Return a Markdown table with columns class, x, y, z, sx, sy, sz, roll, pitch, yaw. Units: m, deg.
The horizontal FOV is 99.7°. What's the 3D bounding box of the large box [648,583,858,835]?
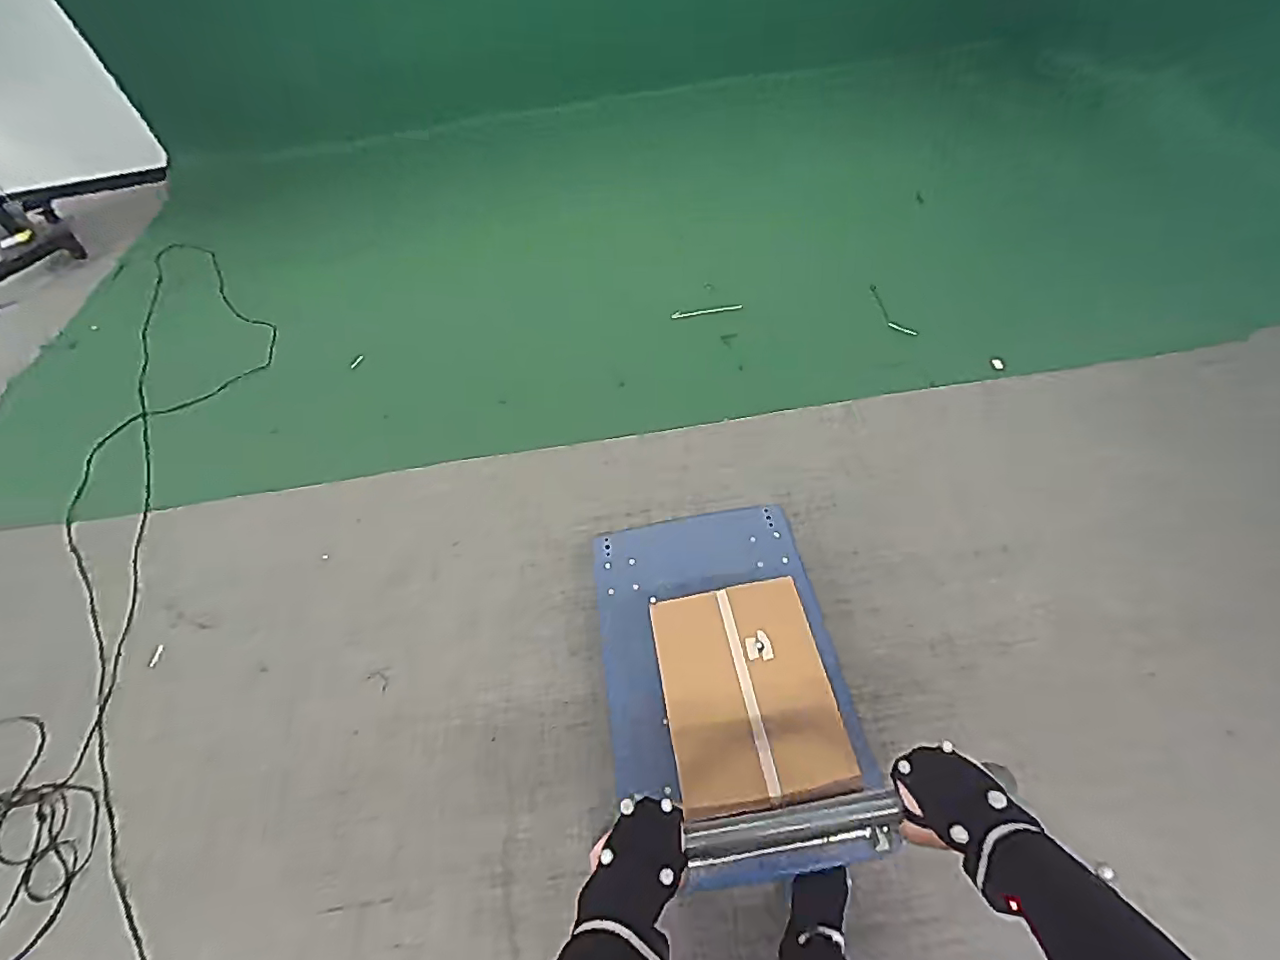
| class | x | y | z | sx | sy | sz | roll | pitch | yaw |
| --- | --- | --- | --- | --- | --- | --- | --- | --- | --- |
| large box | 0.218 | 0.494 | 1.168 | 0.320 | 0.320 | 0.408 | -11 | 53 | 0 |
